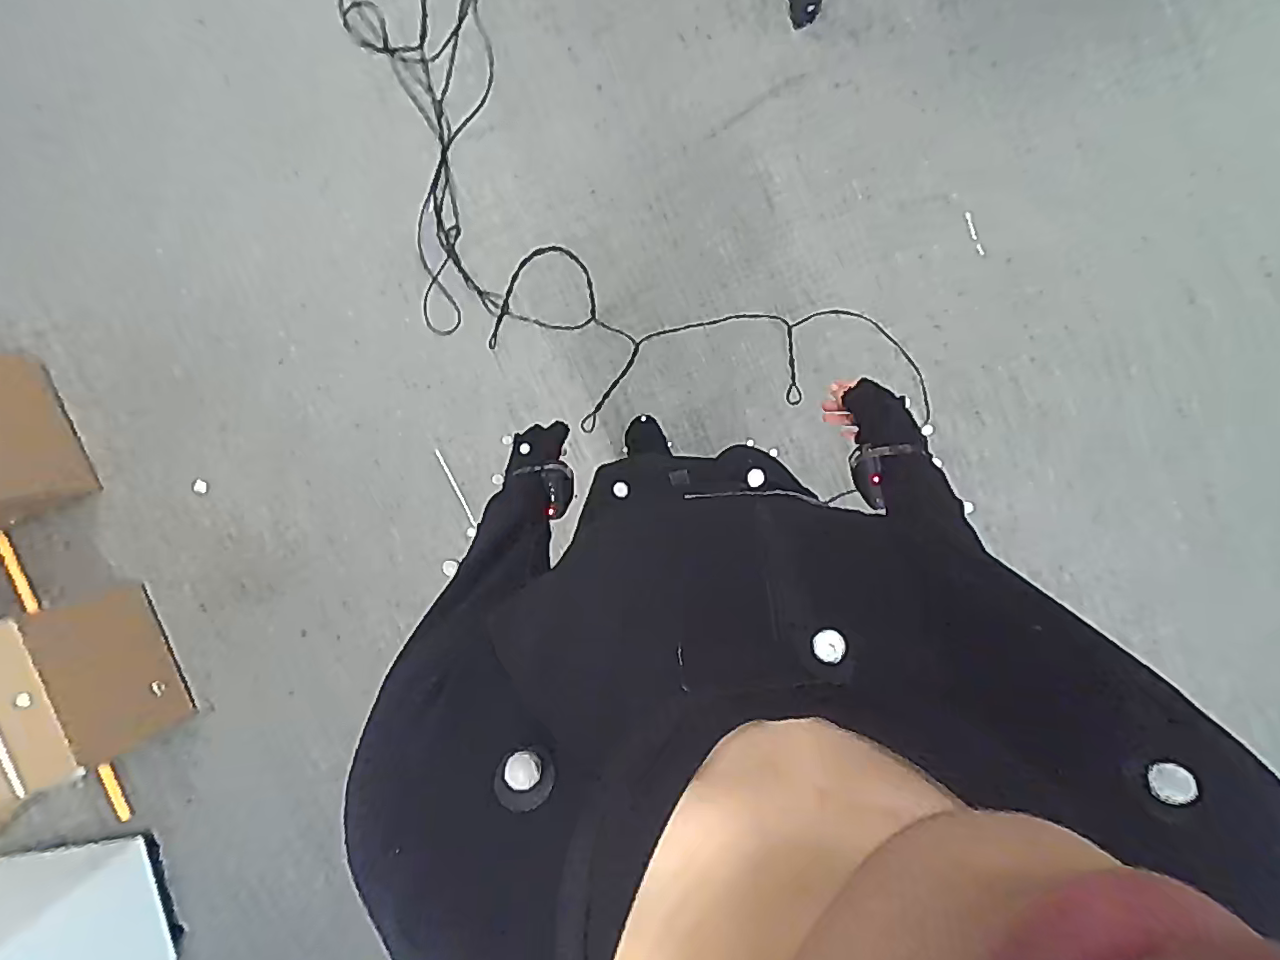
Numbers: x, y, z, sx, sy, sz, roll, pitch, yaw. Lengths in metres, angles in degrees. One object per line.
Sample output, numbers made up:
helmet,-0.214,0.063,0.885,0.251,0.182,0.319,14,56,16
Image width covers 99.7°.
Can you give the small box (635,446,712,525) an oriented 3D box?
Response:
small box,0.081,0.012,1.417,0.168,0.176,0.179,2,99,-9
